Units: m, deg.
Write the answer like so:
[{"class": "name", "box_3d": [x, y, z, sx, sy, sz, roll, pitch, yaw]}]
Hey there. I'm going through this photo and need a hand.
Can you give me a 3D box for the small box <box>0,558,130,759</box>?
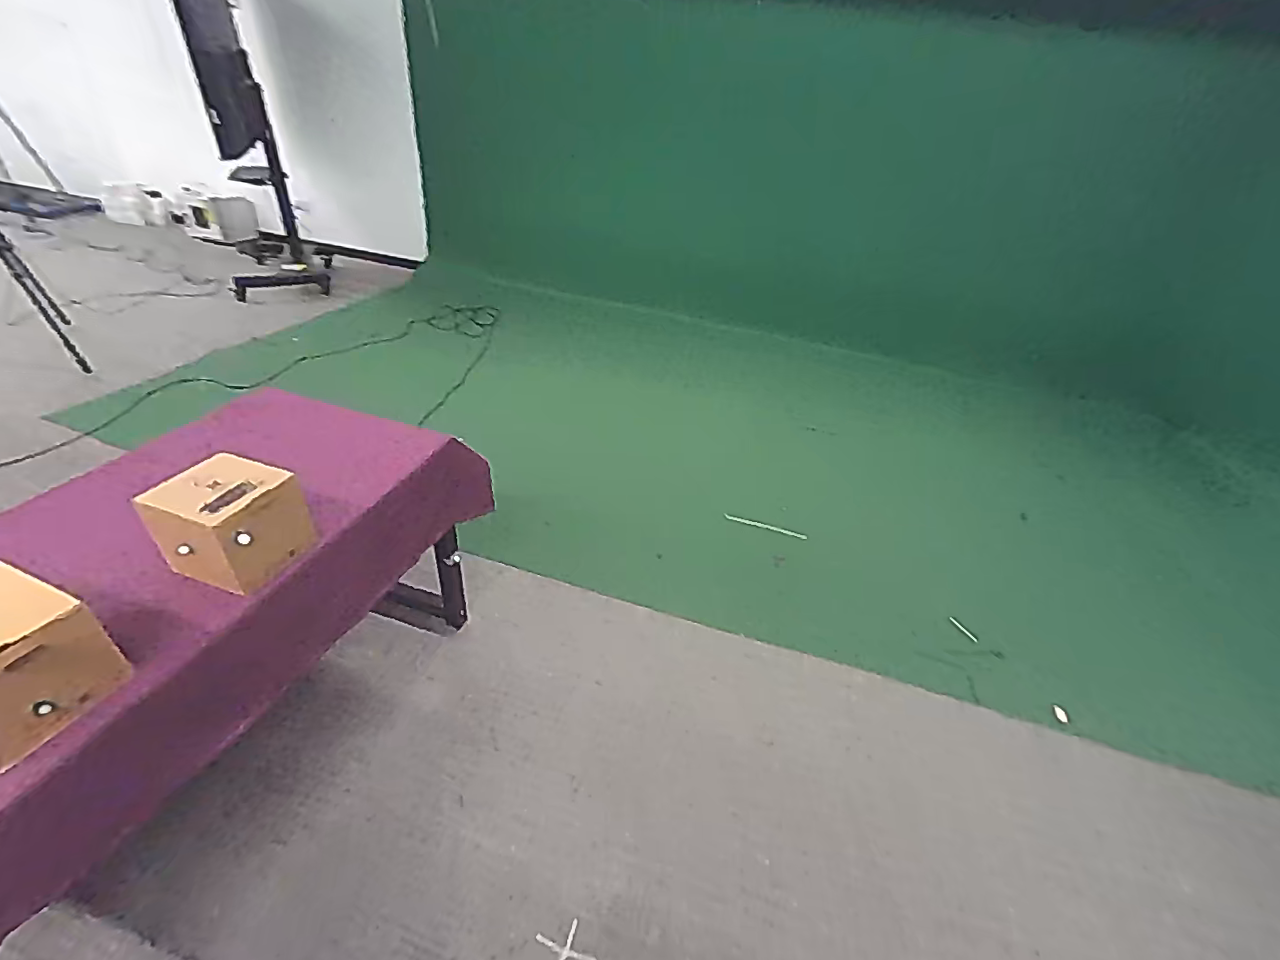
[{"class": "small box", "box_3d": [-0.863, 0.240, 0.729, 0.179, 0.176, 0.168, 18, 36, 14]}]
